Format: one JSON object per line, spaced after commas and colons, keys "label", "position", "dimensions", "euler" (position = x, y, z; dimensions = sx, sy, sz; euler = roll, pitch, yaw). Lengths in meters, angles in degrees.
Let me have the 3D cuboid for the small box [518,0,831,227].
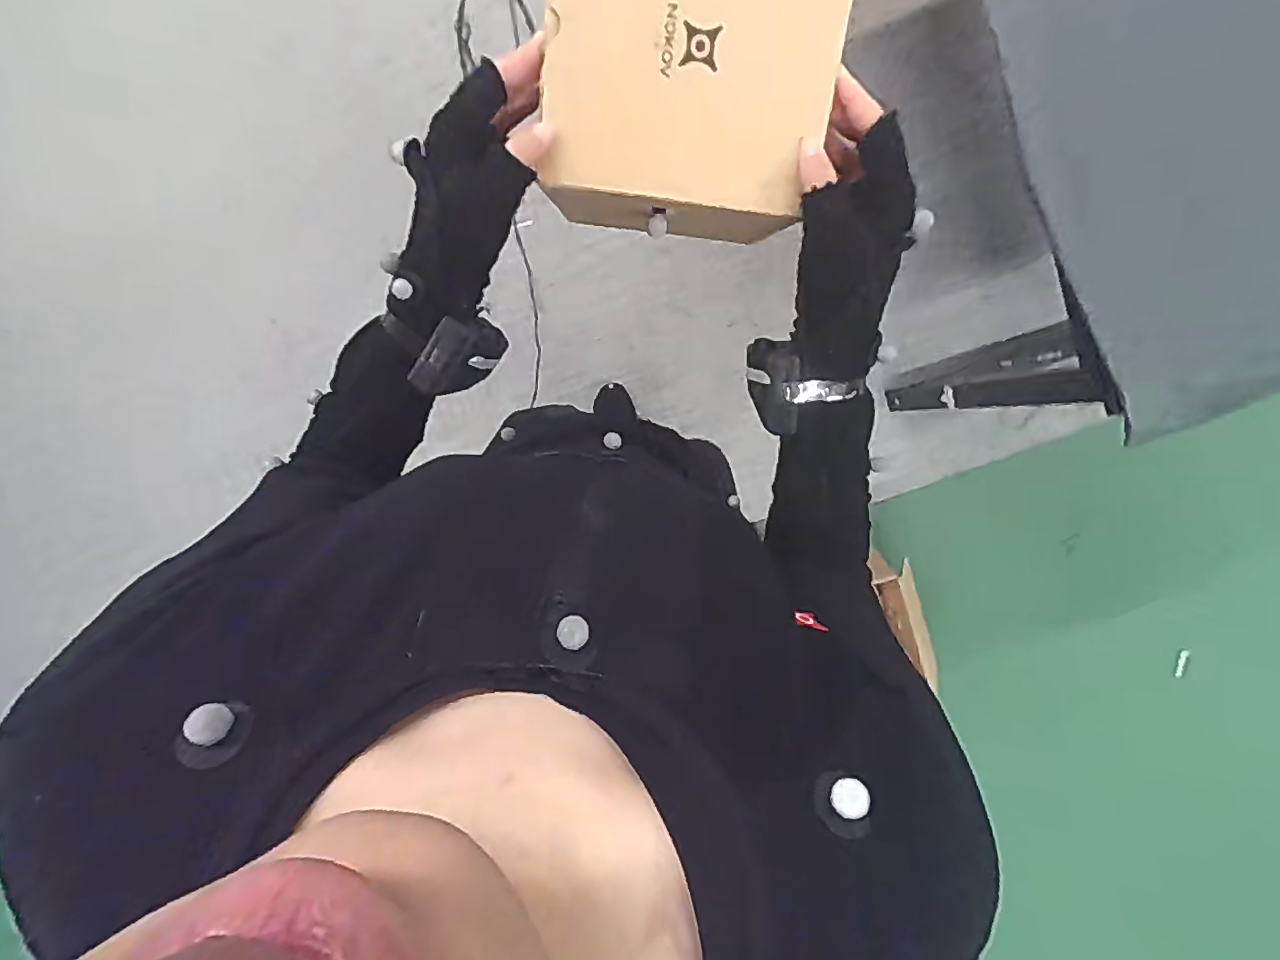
{"label": "small box", "position": [0.019, -0.283, 0.383], "dimensions": [0.179, 0.176, 0.168], "euler": [5, 109, -1]}
